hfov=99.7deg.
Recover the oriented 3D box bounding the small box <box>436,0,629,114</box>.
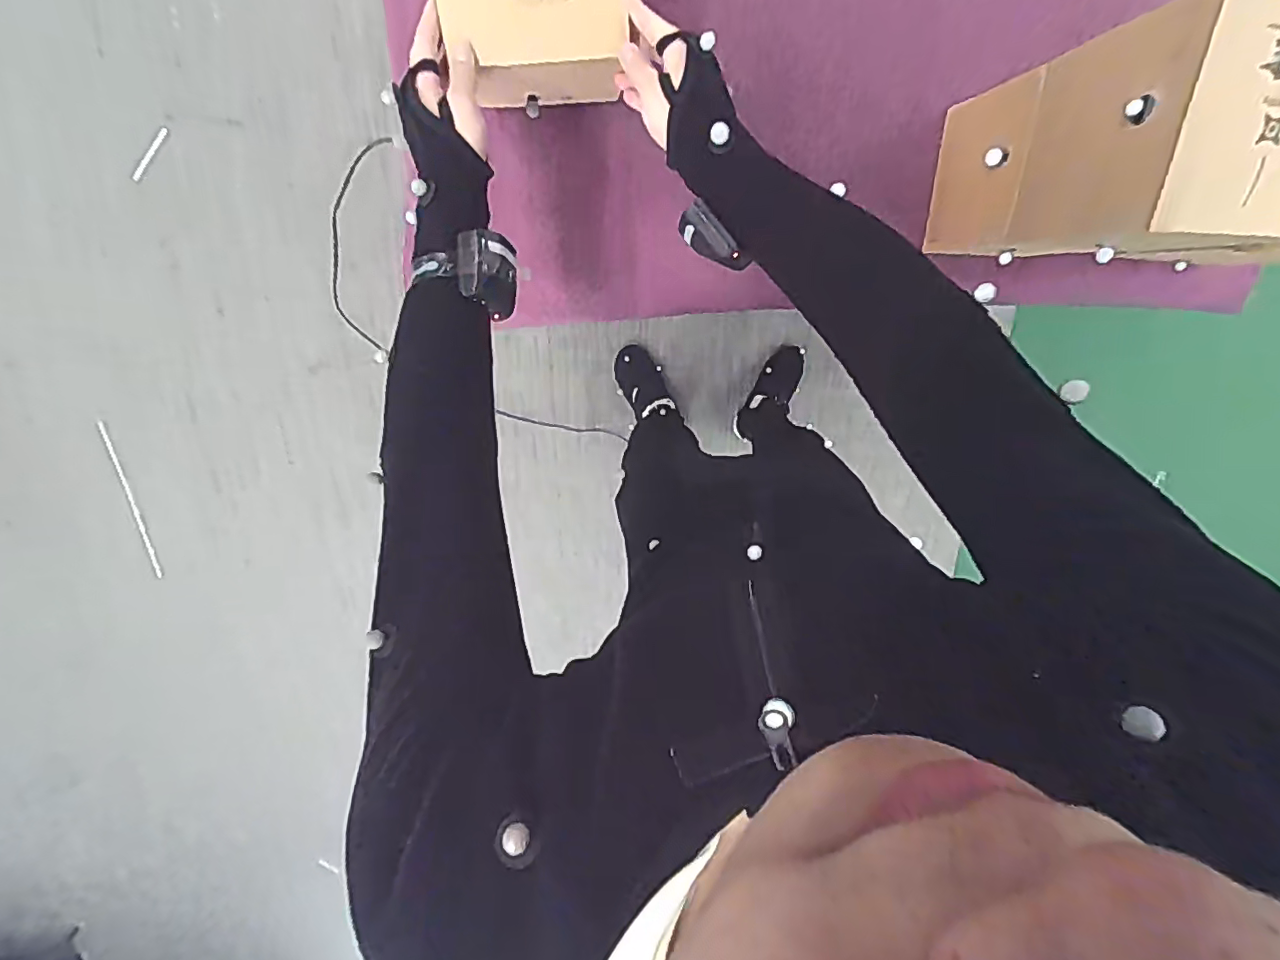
[{"bbox_3d":[-0.104,-0.481,0.525,0.168,0.176,0.179,-6,114,-3],"label":"small box"}]

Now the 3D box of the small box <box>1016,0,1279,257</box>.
[{"bbox_3d":[0.503,-0.313,0.510,0.168,0.176,0.179,0,110,-5],"label":"small box"}]

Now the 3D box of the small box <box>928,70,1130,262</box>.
[{"bbox_3d":[0.487,-0.366,0.665,0.168,0.176,0.179,0,109,-5],"label":"small box"}]
